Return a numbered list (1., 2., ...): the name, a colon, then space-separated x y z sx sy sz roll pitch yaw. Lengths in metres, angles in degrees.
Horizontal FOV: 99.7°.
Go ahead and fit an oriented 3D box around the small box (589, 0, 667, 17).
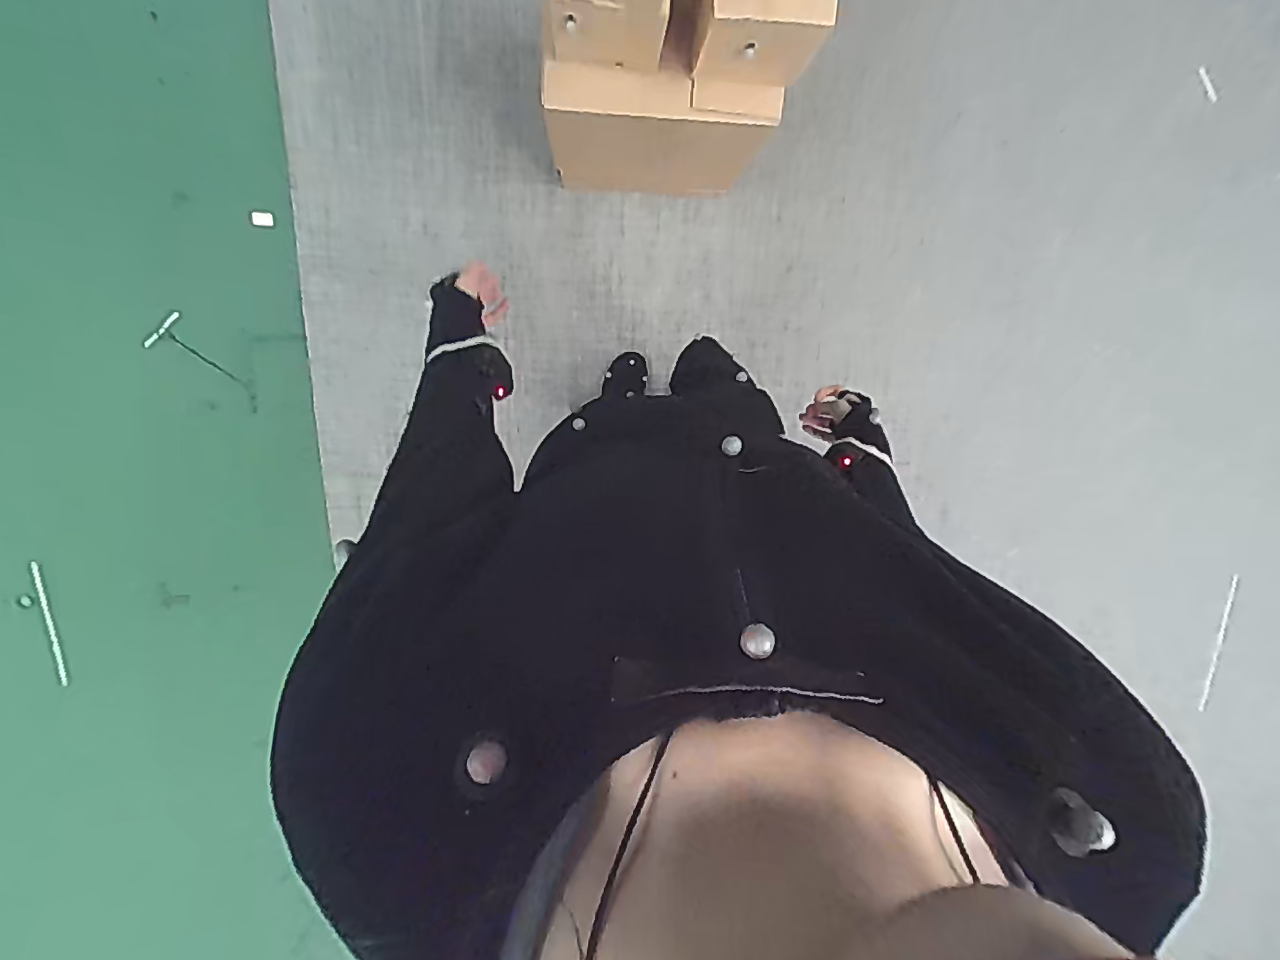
1. small box: -0.026 -0.701 0.626 0.168 0.176 0.179 9 102 -6
